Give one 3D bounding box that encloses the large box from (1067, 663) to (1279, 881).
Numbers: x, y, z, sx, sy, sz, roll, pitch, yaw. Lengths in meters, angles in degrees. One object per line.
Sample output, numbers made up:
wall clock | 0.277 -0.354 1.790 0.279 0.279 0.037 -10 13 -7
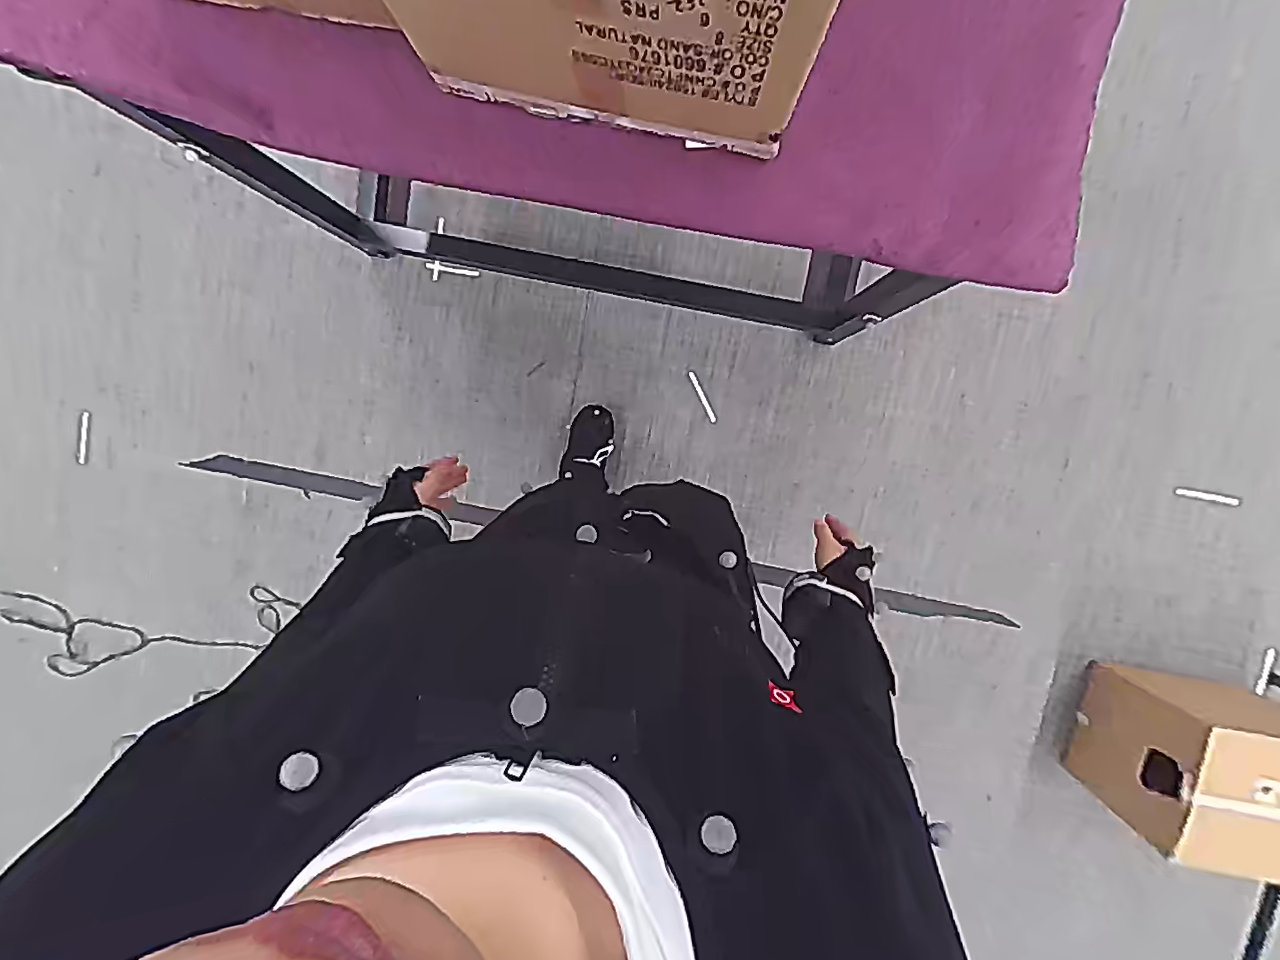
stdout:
large box | 1.326 0.658 1.246 0.408 0.320 0.320 9 96 2
